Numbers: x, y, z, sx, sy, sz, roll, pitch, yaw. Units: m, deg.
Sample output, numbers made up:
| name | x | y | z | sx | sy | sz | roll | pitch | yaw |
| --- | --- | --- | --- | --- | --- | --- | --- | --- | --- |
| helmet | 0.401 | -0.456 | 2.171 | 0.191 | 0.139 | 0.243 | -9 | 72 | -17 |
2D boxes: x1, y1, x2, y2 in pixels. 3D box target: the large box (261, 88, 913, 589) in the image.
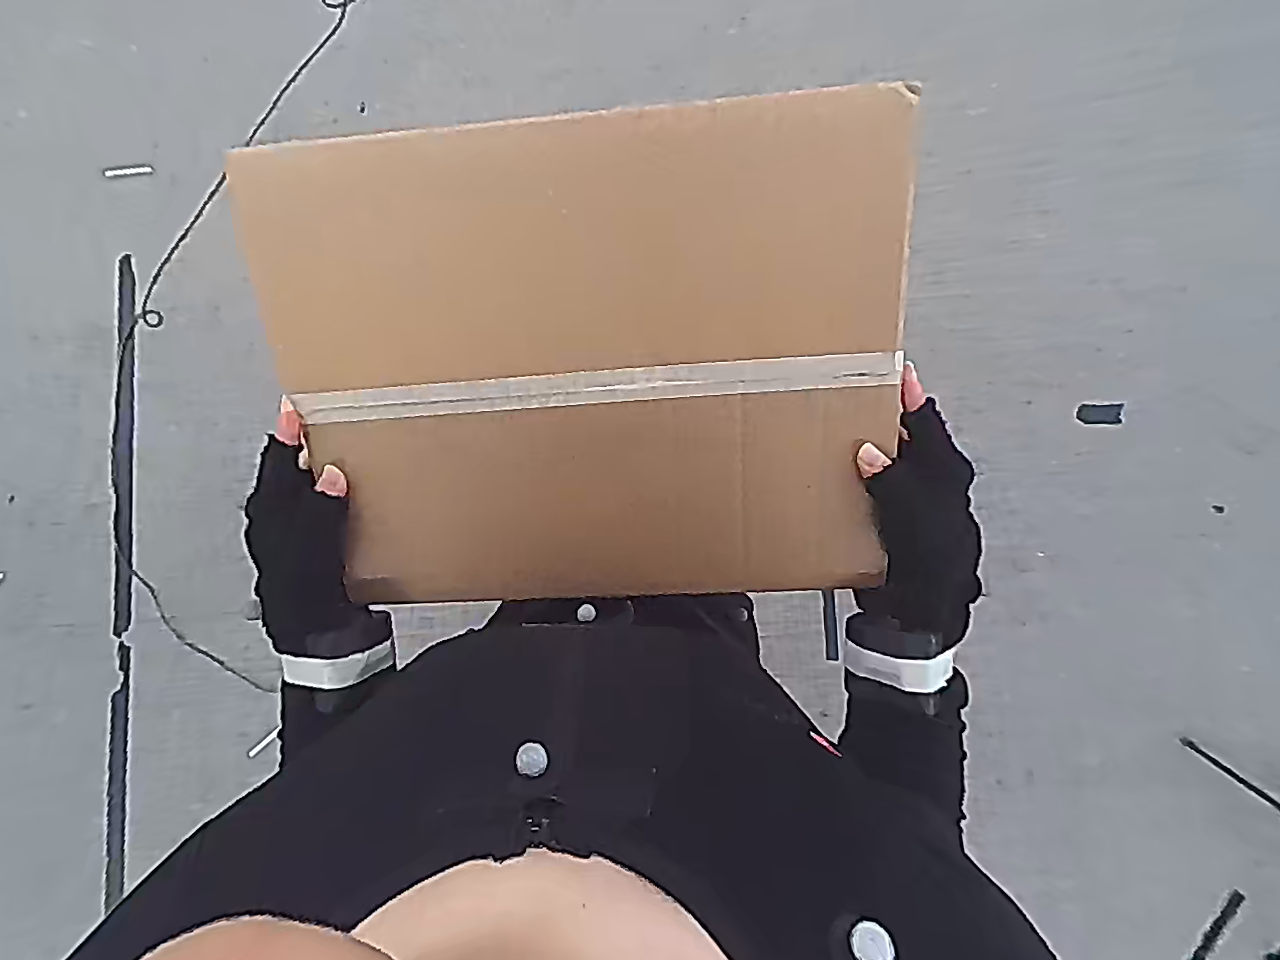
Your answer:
| name | x | y | z | sx | sy | sz | roll | pitch | yaw |
| --- | --- | --- | --- | --- | --- | --- | --- | --- | --- |
| large box | -0.024 | -0.114 | 0.508 | 0.408 | 0.320 | 0.320 | -2 | 110 | 4 |
